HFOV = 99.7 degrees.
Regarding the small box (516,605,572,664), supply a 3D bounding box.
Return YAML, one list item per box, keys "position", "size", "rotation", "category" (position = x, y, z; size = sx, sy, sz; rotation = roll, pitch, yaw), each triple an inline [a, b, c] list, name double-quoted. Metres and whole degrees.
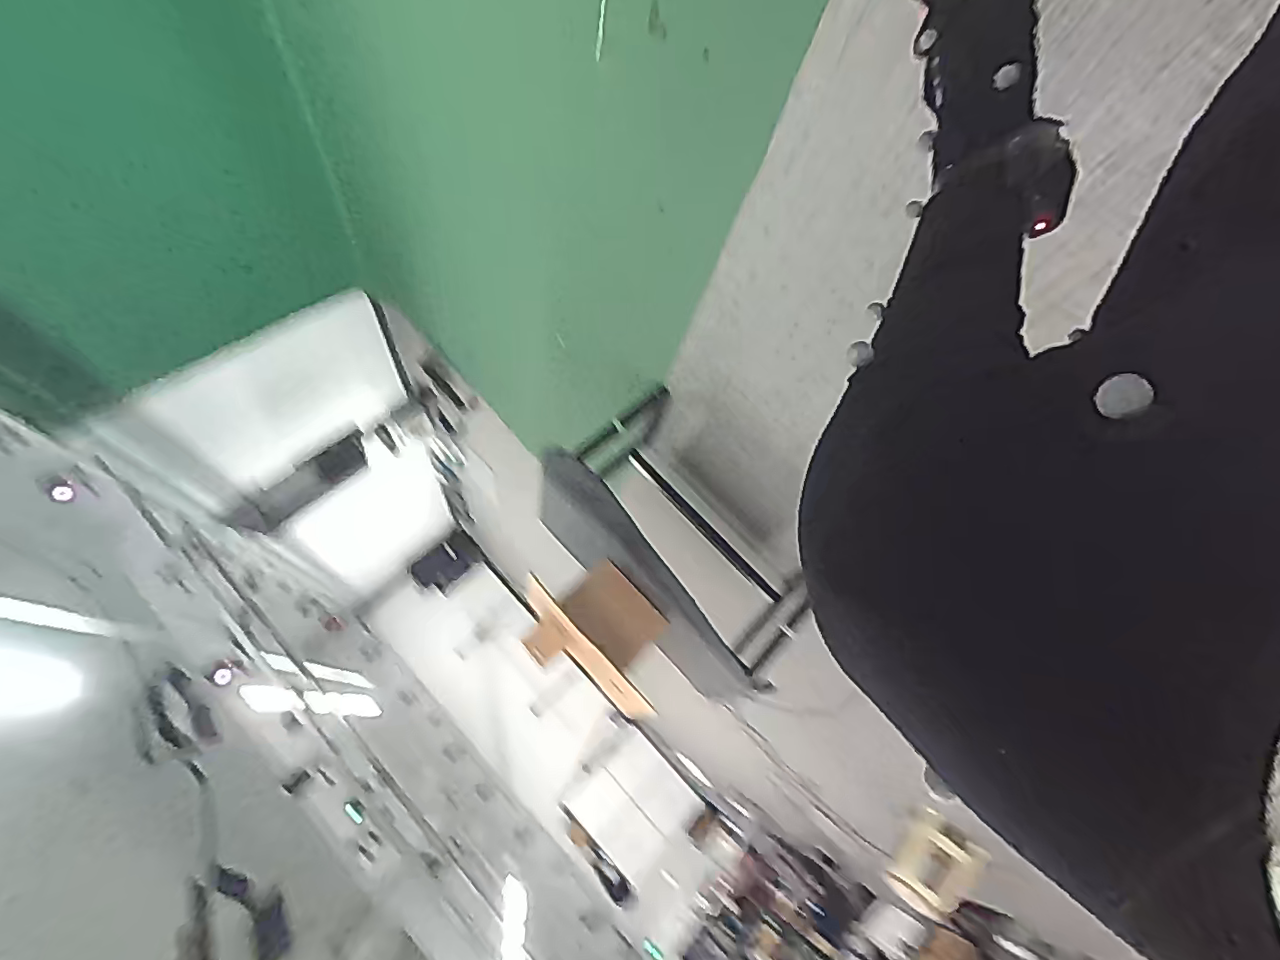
- position: [-0.402, 0.646, 2.256]
  size: [0.168, 0.176, 0.179]
  rotation: [48, 156, 8]
  category: "small box"
